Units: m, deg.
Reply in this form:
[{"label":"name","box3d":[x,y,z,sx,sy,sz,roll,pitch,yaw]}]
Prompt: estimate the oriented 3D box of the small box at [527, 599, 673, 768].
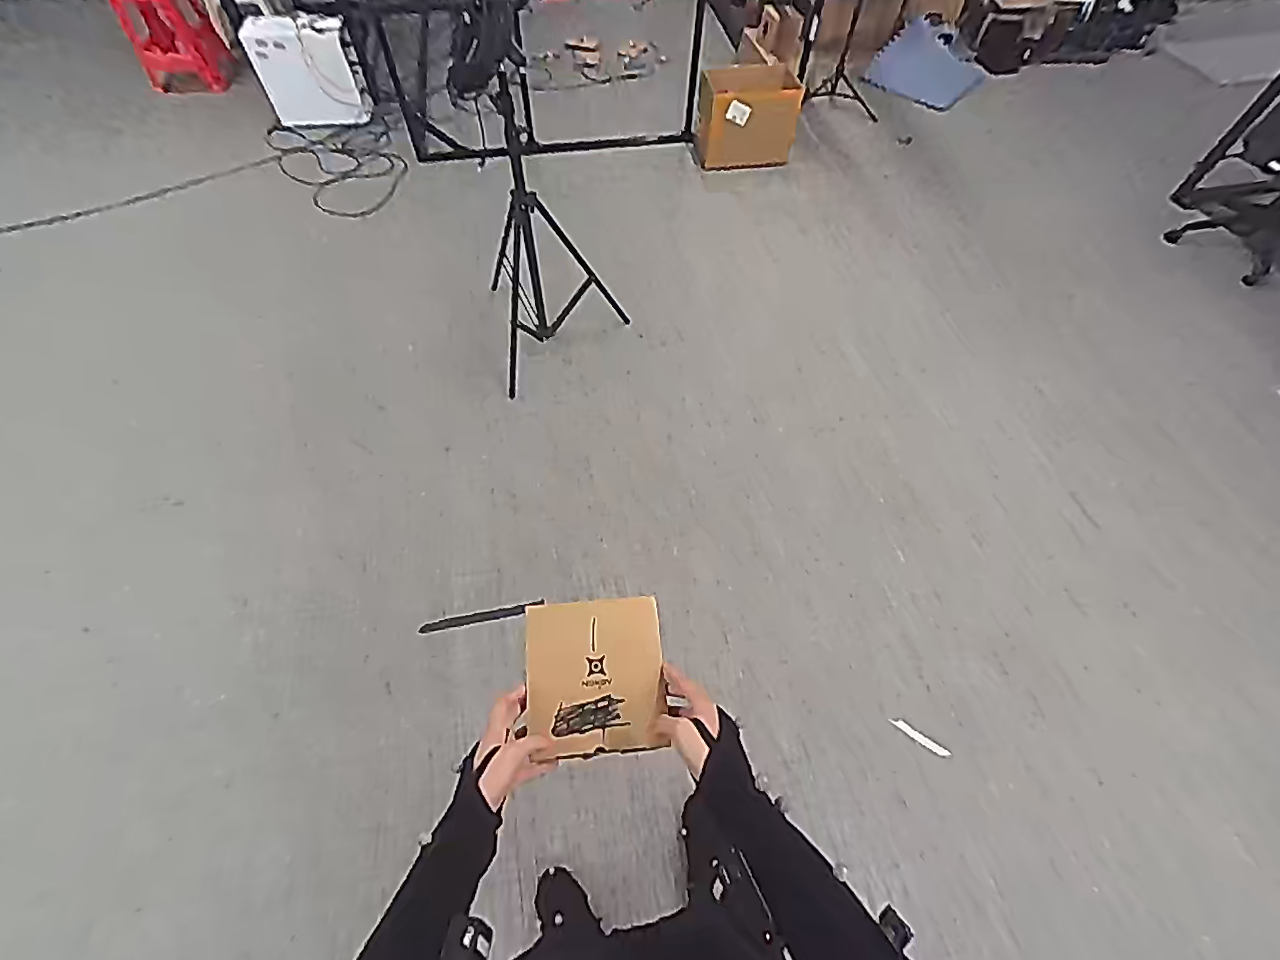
[{"label":"small box","box3d":[-0.053,0.260,0.705,0.168,0.176,0.179,-4,69,-5]}]
